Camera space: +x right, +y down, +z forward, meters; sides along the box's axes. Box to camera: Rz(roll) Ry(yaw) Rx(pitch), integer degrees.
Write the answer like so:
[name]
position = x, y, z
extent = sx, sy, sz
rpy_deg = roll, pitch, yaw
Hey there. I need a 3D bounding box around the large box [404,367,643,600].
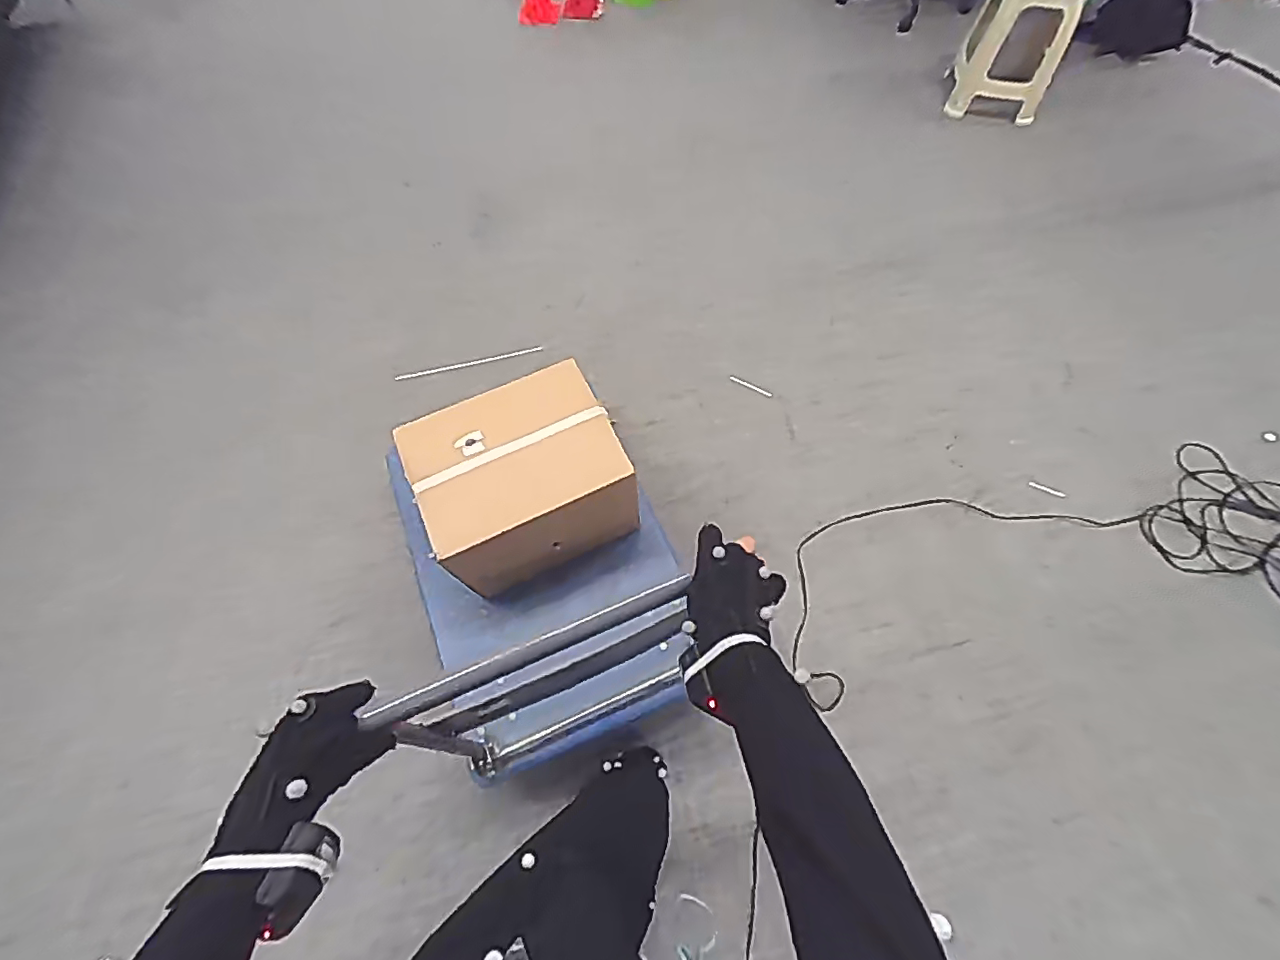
[large box]
position = -0.238, 0.019, 1.217
extent = 0.408, 0.320, 0.320
rpy_deg = -25, 65, -10
